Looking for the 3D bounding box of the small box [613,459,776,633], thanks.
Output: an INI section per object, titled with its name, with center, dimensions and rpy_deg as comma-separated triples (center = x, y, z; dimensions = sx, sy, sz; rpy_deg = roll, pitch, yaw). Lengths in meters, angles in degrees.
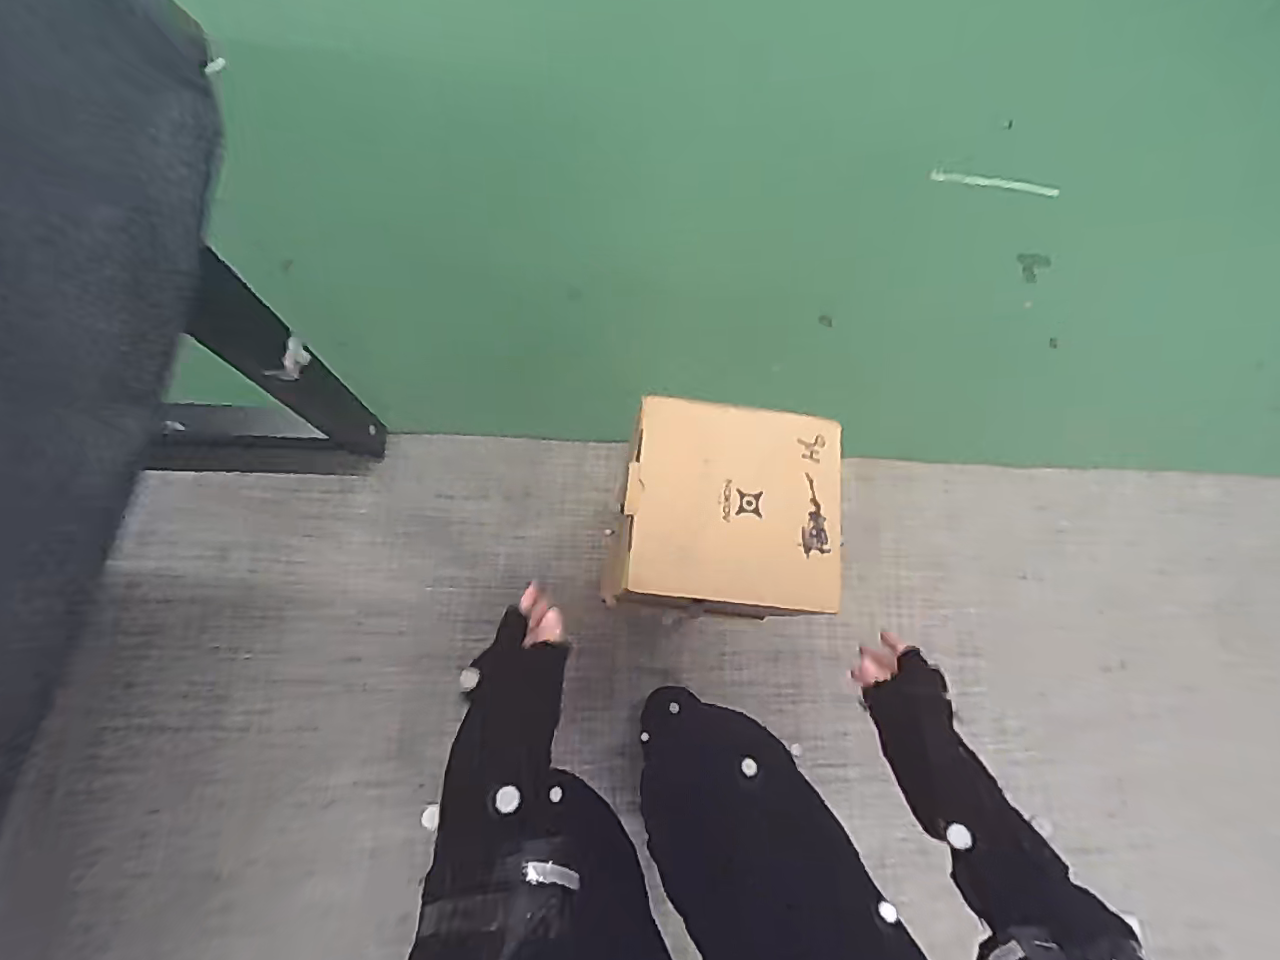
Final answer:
[small box]
center = 0.060, 0.092, 0.681
dimensions = 0.168, 0.176, 0.179
rpy_deg = 9, 74, -3
